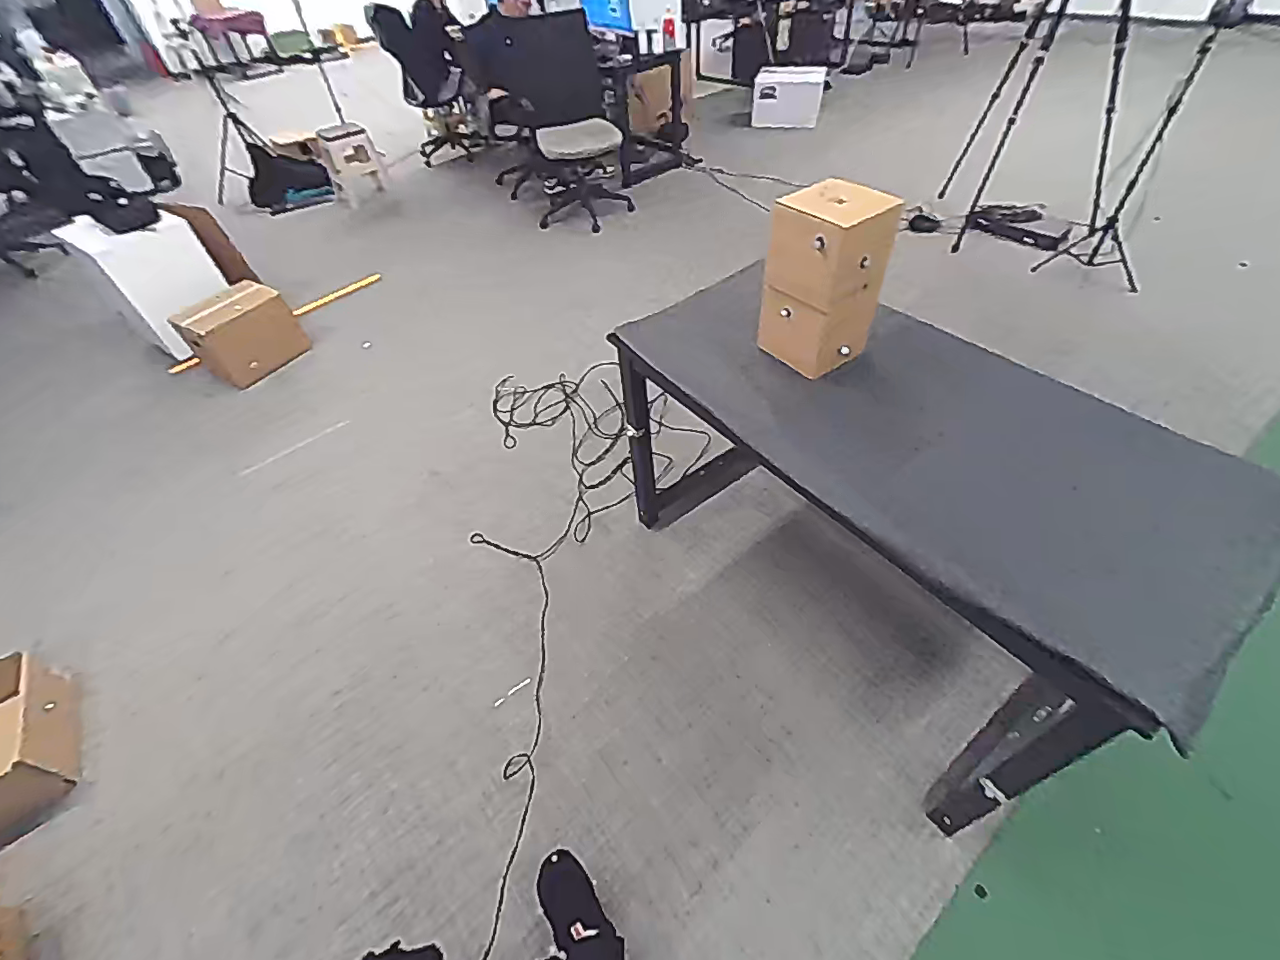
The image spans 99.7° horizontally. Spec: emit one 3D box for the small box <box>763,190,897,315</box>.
[{"bbox_3d":[0.371,-0.452,1.087,0.168,0.176,0.179,-29,51,-22],"label":"small box"}]

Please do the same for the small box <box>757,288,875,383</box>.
[{"bbox_3d":[0.383,-0.345,1.212,0.168,0.176,0.179,-28,51,-21],"label":"small box"}]
